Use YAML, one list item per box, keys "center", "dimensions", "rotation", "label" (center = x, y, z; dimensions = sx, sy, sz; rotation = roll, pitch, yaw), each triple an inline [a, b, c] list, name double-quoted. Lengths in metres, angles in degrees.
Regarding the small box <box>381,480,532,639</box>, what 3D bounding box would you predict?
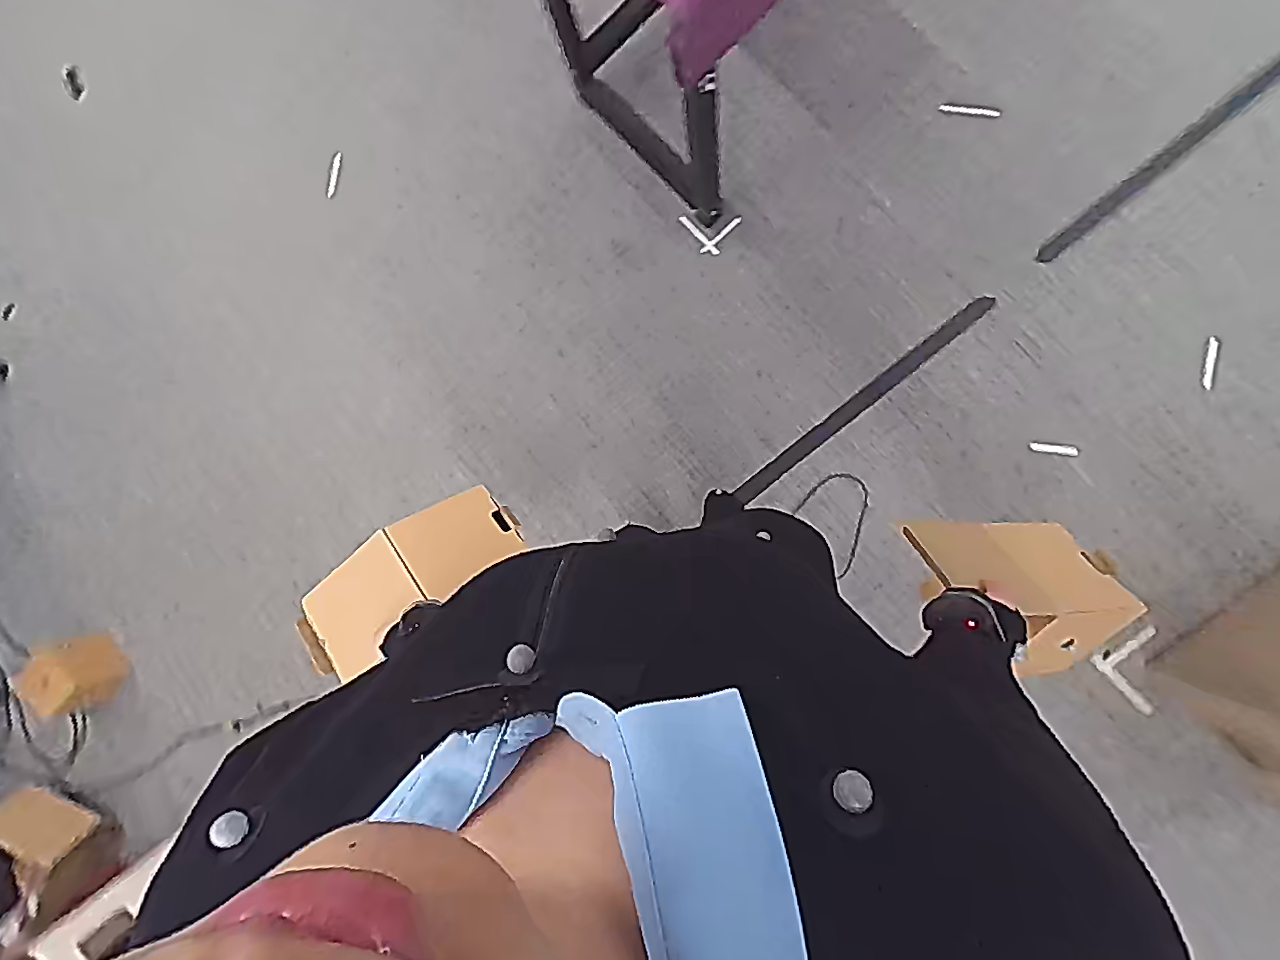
- center: [-0.304, 0.137, 0.906]
  dimensions: [0.179, 0.176, 0.168]
  rotation: [-28, 69, -33]
  label: "small box"
